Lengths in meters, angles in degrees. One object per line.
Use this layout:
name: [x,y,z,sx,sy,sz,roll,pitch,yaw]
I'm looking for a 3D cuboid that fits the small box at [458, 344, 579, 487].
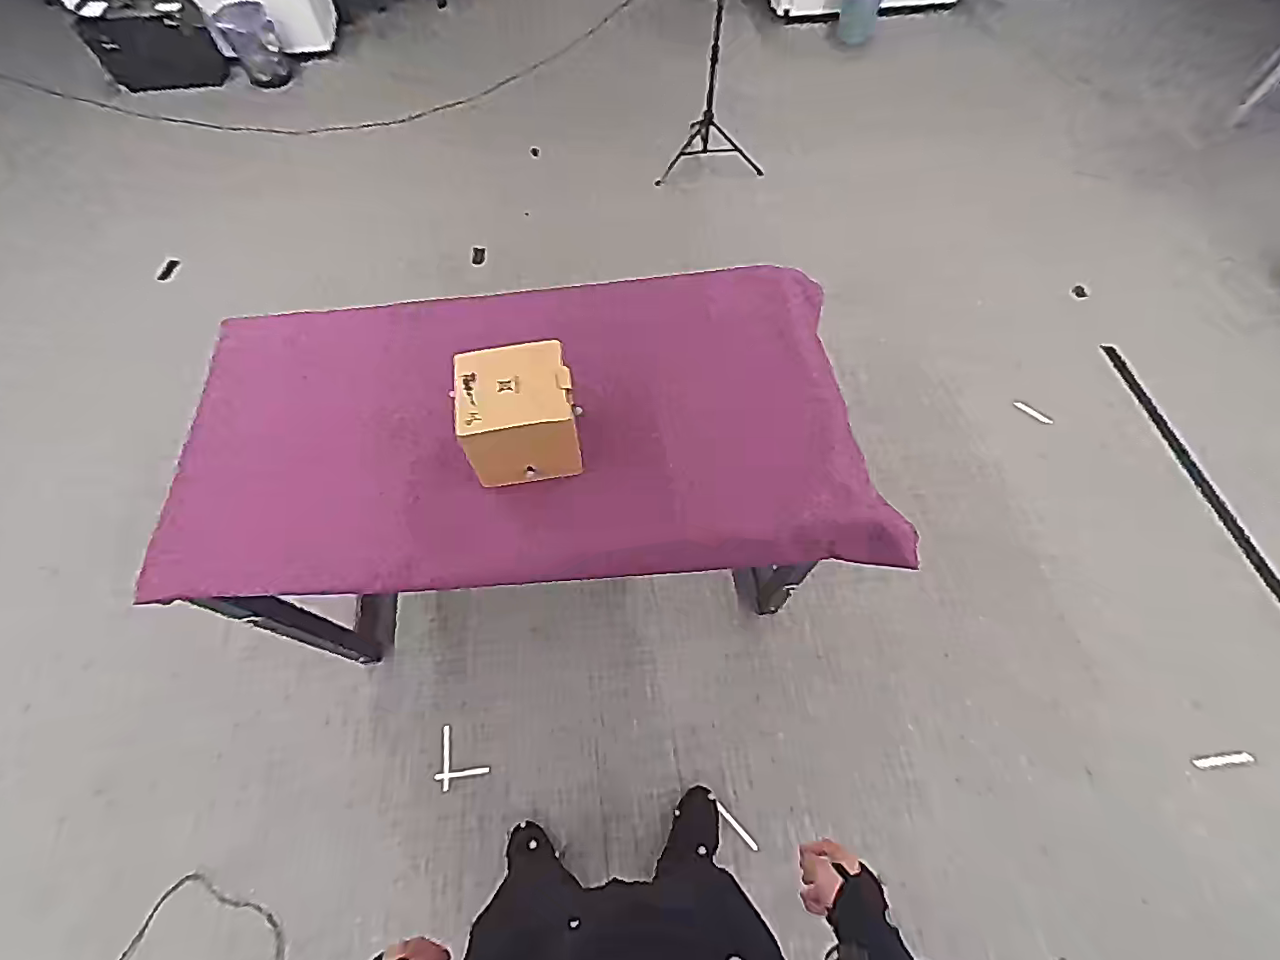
small box: [-0.199,-0.104,0.917,0.179,0.176,0.168,-8,61,-5]
